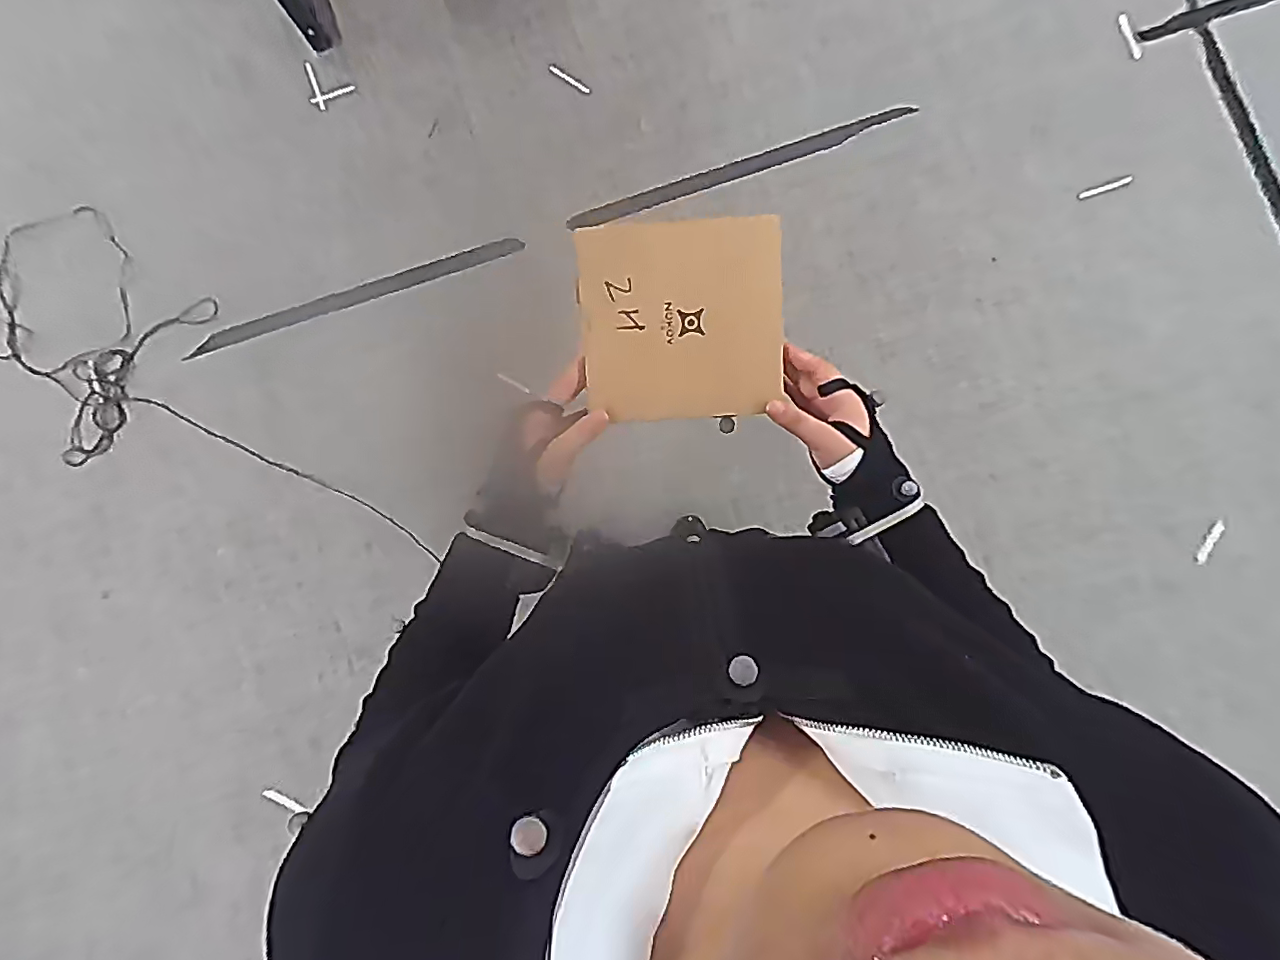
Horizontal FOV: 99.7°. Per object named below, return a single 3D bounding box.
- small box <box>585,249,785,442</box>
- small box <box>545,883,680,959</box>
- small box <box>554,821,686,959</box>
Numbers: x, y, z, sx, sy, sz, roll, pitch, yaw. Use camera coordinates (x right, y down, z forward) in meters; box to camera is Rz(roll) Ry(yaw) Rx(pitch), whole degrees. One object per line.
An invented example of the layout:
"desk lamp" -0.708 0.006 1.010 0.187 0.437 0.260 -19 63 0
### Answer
"small box" 0.041 -0.130 0.561 0.179 0.176 0.168 -3 98 1
"small box" -0.031 0.730 0.767 0.168 0.176 0.179 -18 86 3
"small box" -0.025 0.733 0.930 0.179 0.176 0.168 -20 86 2
